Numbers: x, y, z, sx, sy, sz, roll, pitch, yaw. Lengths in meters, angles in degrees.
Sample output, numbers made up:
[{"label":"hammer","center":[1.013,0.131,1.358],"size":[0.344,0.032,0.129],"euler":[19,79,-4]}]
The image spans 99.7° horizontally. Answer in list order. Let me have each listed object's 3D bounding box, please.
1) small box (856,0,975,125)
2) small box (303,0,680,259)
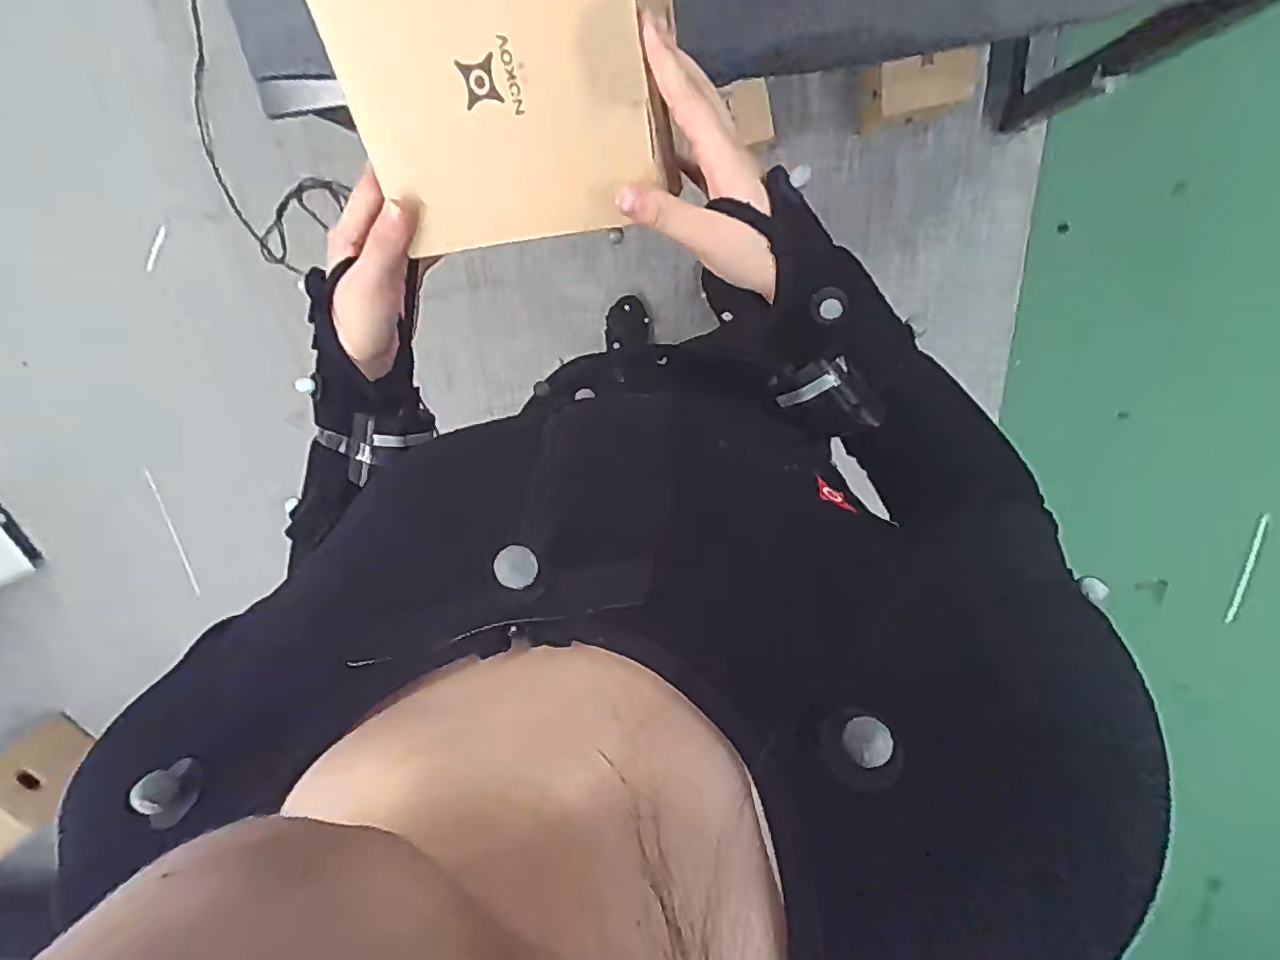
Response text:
[{"label":"small box","center":[0.533,-0.824,1.065],"size":[0.168,0.176,0.179],"euler":[-7,109,10]},{"label":"small box","center":[-0.075,-0.262,0.362],"size":[0.179,0.176,0.168],"euler":[-3,125,12]}]
